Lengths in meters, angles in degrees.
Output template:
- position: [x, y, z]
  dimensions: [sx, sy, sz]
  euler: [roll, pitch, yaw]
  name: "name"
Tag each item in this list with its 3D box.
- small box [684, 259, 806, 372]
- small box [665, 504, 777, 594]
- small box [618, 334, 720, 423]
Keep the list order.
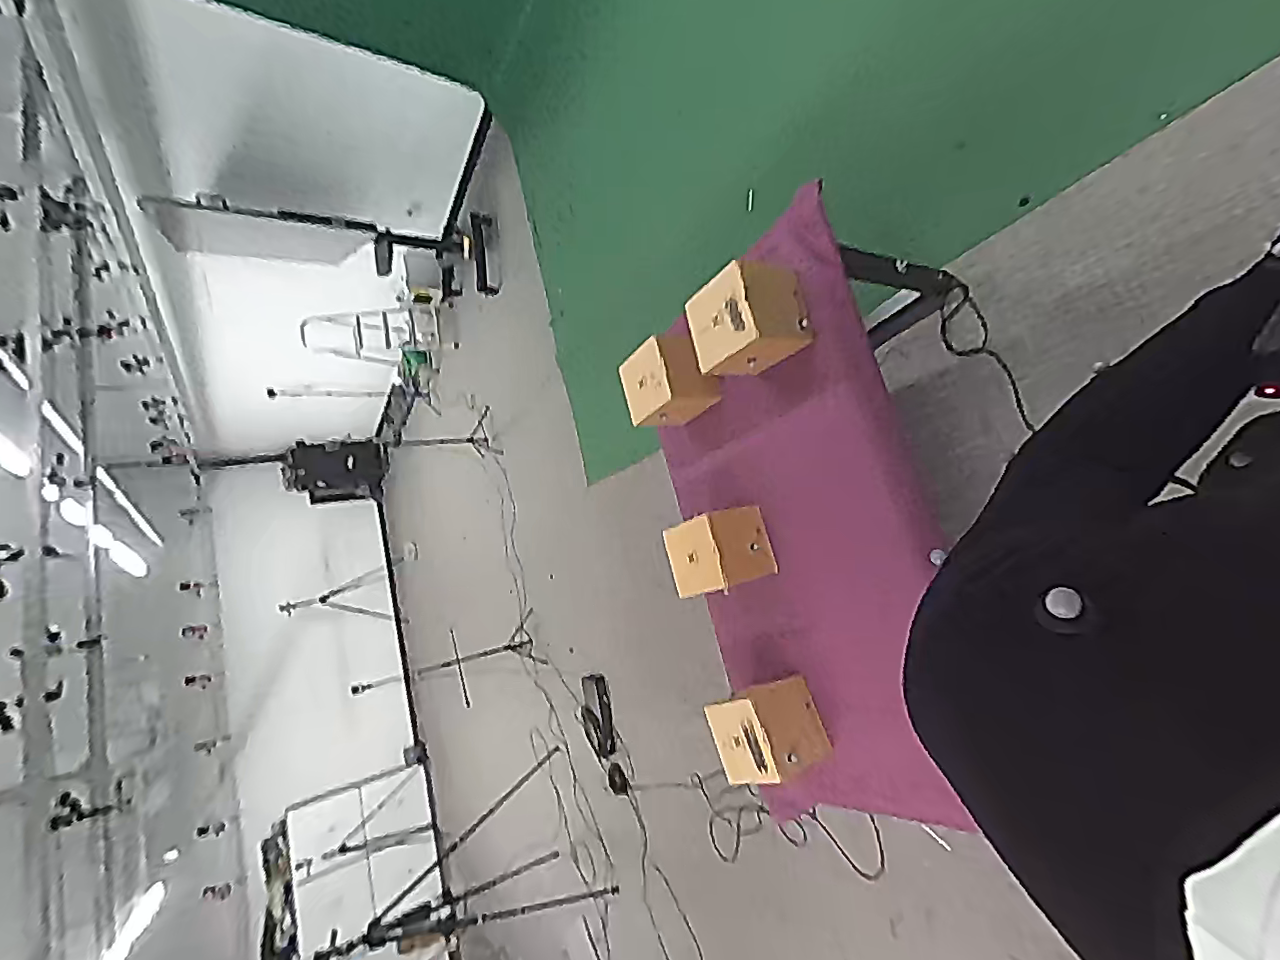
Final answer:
- position: [0.225, -0.338, 1.138]
  dimensions: [0.179, 0.176, 0.168]
  euler: [-26, 76, 56]
  name: "small box"
- position: [0.191, 0.163, 1.284]
  dimensions: [0.179, 0.176, 0.168]
  euler: [-31, 70, 51]
  name: "small box"
- position: [0.074, -0.253, 1.371]
  dimensions: [0.179, 0.176, 0.168]
  euler: [-30, 73, 52]
  name: "small box"
